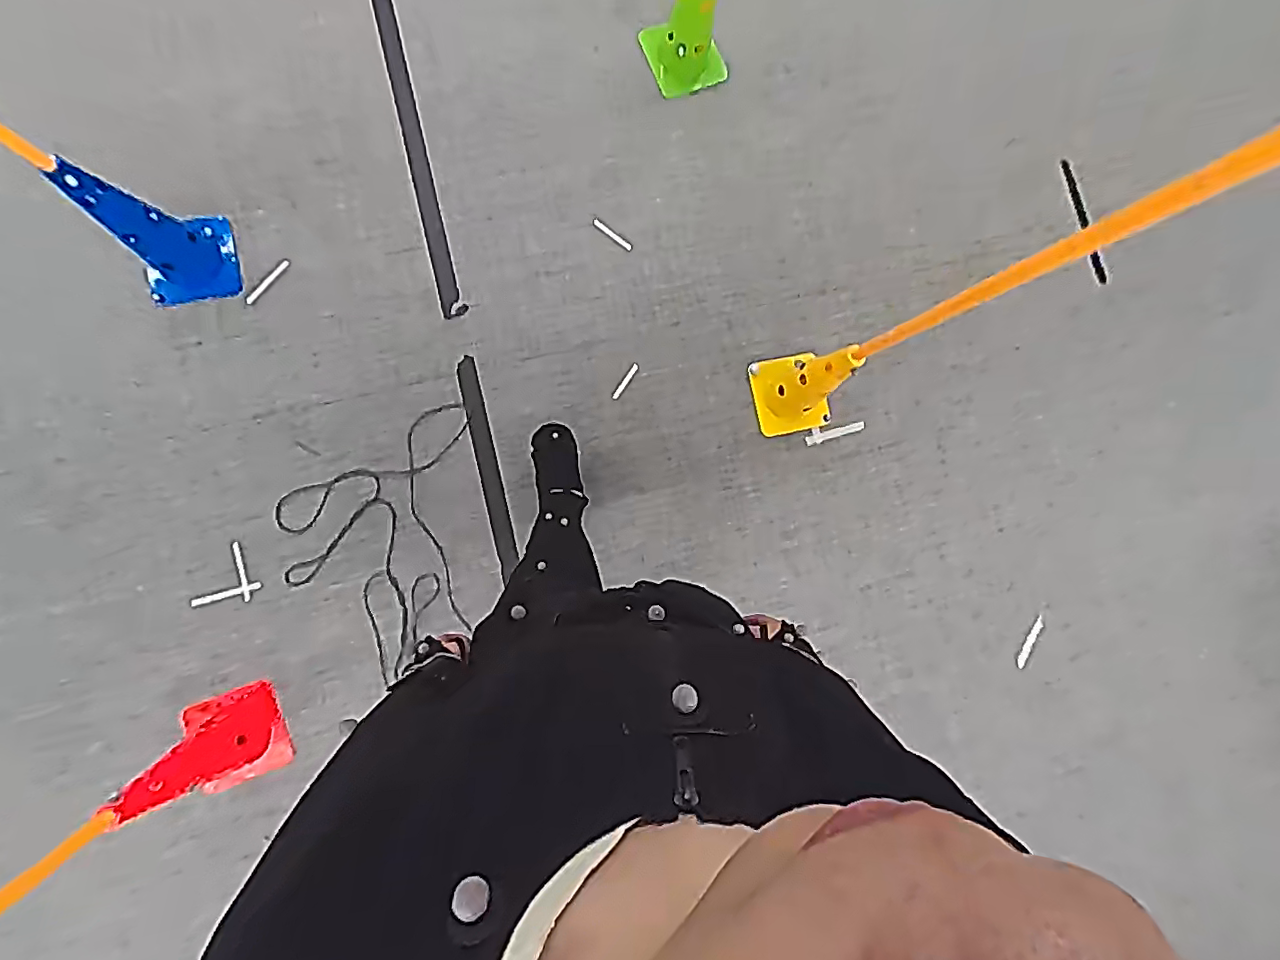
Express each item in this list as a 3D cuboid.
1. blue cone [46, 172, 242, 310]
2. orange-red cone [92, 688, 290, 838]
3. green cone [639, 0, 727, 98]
[{"bbox_3d":[-1.050,-0.522,1.132,0.193,0.380,0.192,-11,87,-7],"label":"blue cone"},{"bbox_3d":[-0.890,0.574,1.049,0.199,0.360,0.198,-19,88,-9],"label":"orange-red cone"},{"bbox_3d":[0.139,-1.169,1.309,0.200,0.368,0.202,-25,91,-8],"label":"green cone"}]
